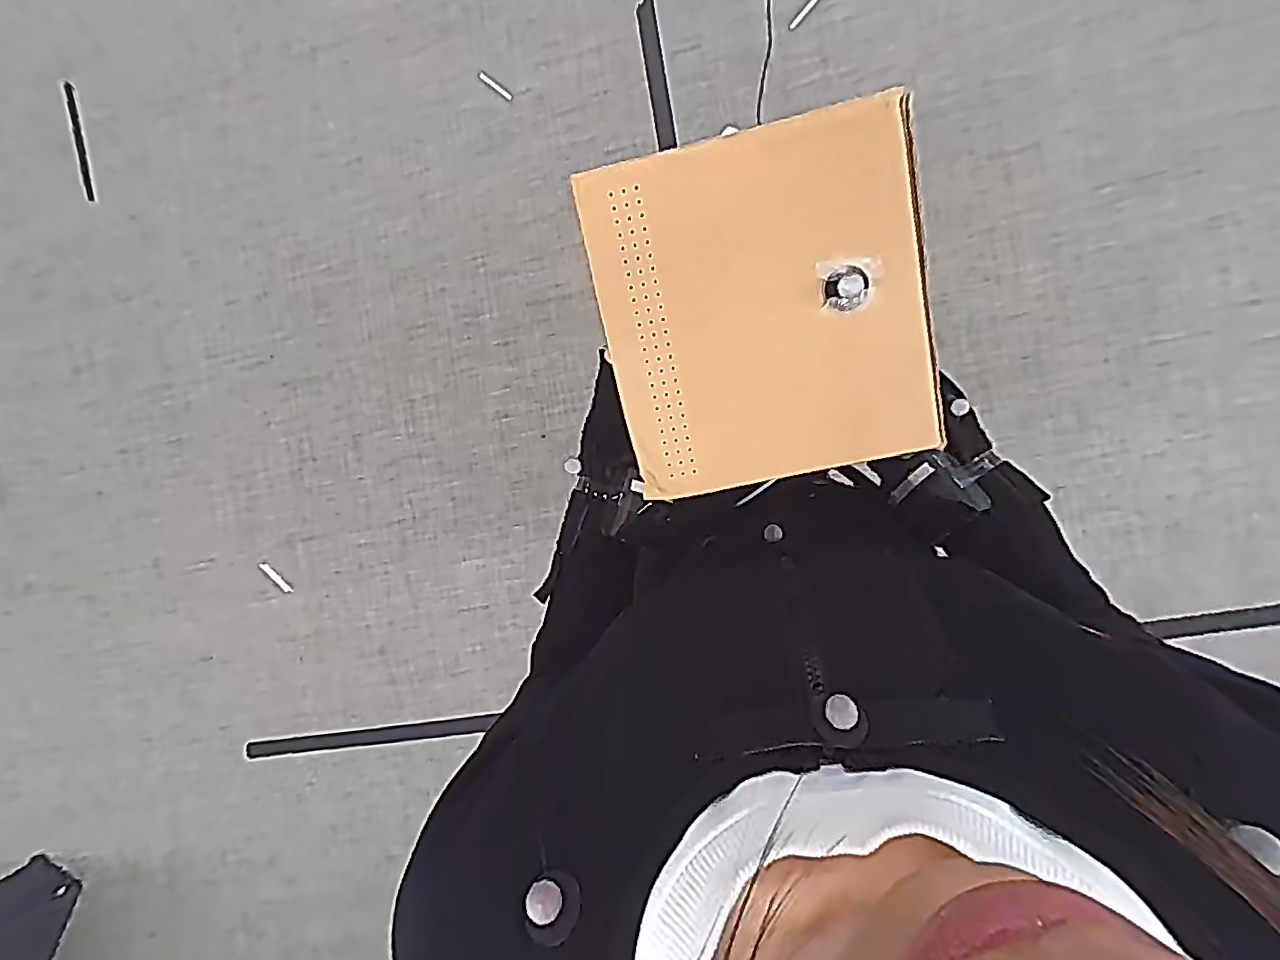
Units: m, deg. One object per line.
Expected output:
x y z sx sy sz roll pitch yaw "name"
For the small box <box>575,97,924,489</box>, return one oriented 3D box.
0.063 -0.108 0.367 0.176 0.168 0.179 -11 103 7 "small box"
